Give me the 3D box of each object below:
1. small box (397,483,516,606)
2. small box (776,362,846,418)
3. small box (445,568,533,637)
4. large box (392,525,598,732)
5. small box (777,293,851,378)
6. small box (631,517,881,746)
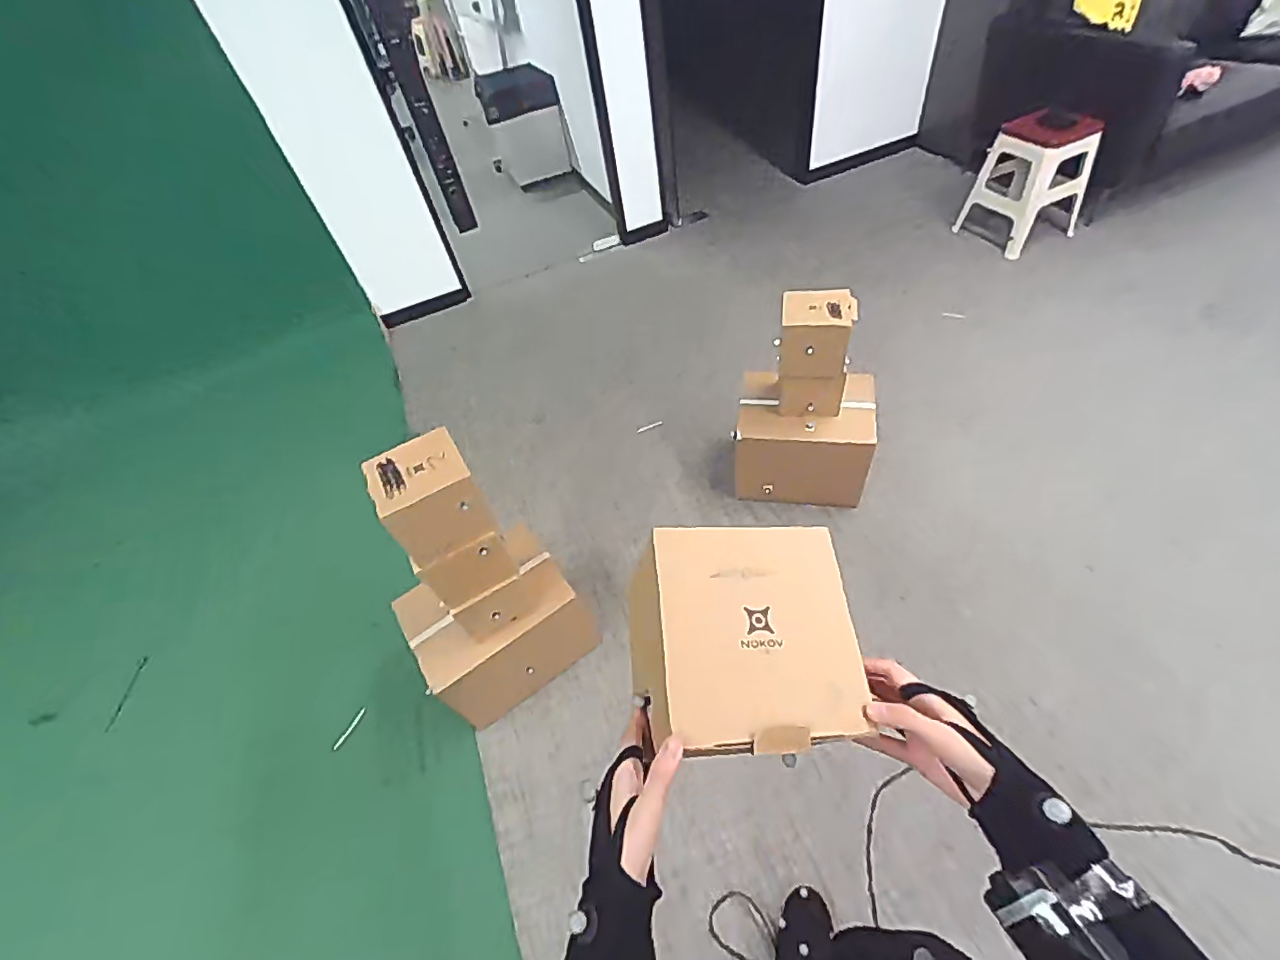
[{"bbox_3d":[-0.399,0.146,1.189,0.179,0.176,0.168,-27,51,-14],"label":"small box"},{"bbox_3d":[0.509,-0.302,1.627,0.179,0.176,0.168,2,49,10],"label":"small box"},{"bbox_3d":[-0.378,0.255,1.306,0.168,0.176,0.179,-28,52,-15],"label":"small box"},{"bbox_3d":[-0.385,0.409,1.502,0.408,0.320,0.320,-34,52,-17],"label":"large box"},{"bbox_3d":[0.477,-0.396,1.495,0.179,0.176,0.168,4,50,14],"label":"small box"},{"bbox_3d":[0.087,0.148,0.504,0.168,0.176,0.179,2,61,-10],"label":"small box"}]
